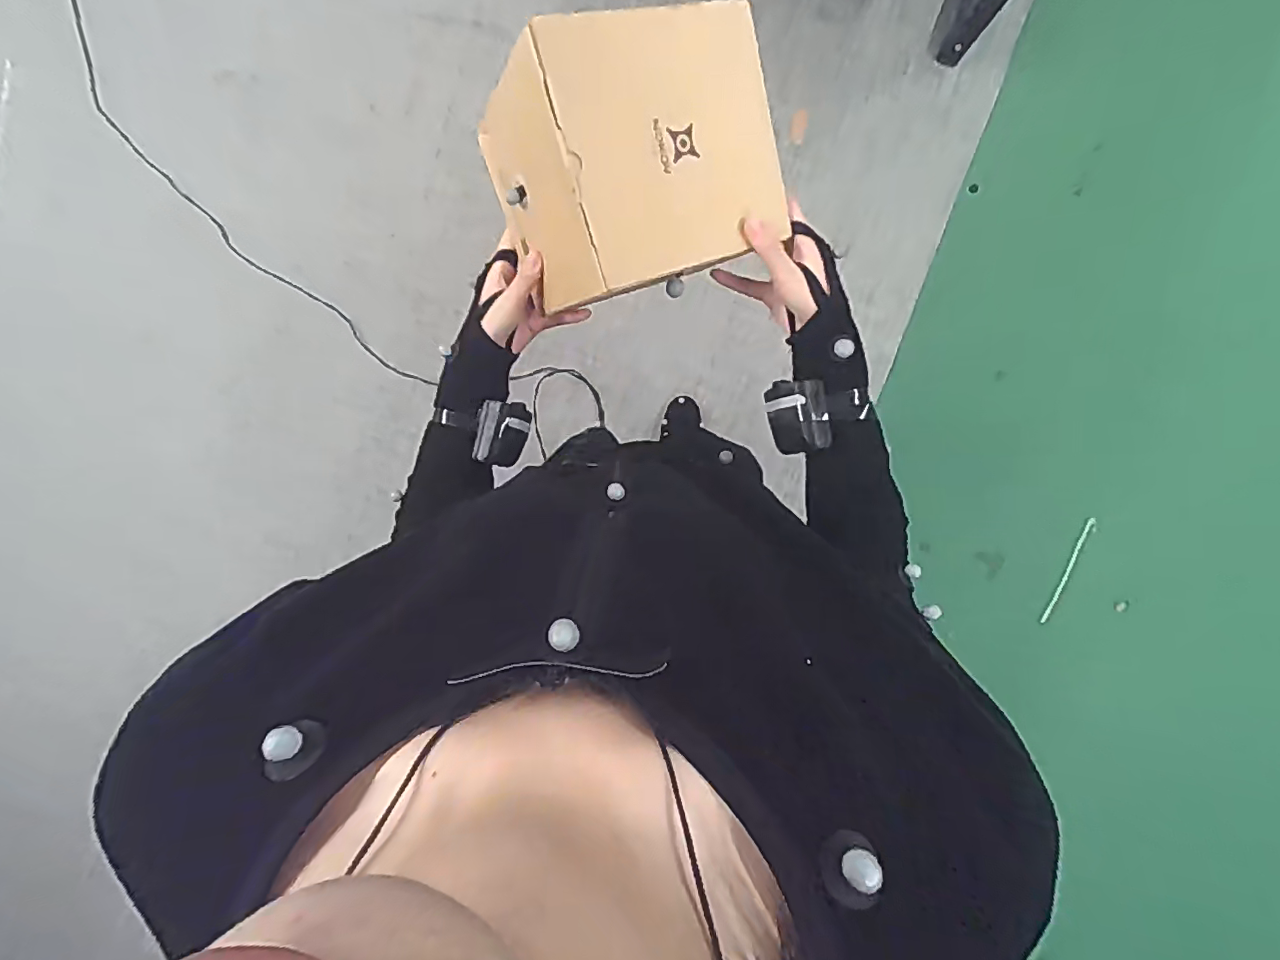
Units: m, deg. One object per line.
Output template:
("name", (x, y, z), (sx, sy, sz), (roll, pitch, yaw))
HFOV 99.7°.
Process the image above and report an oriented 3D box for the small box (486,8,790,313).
("small box", (-0.008, -0.250, 0.456), (0.179, 0.176, 0.168), (-24, 109, -21))
